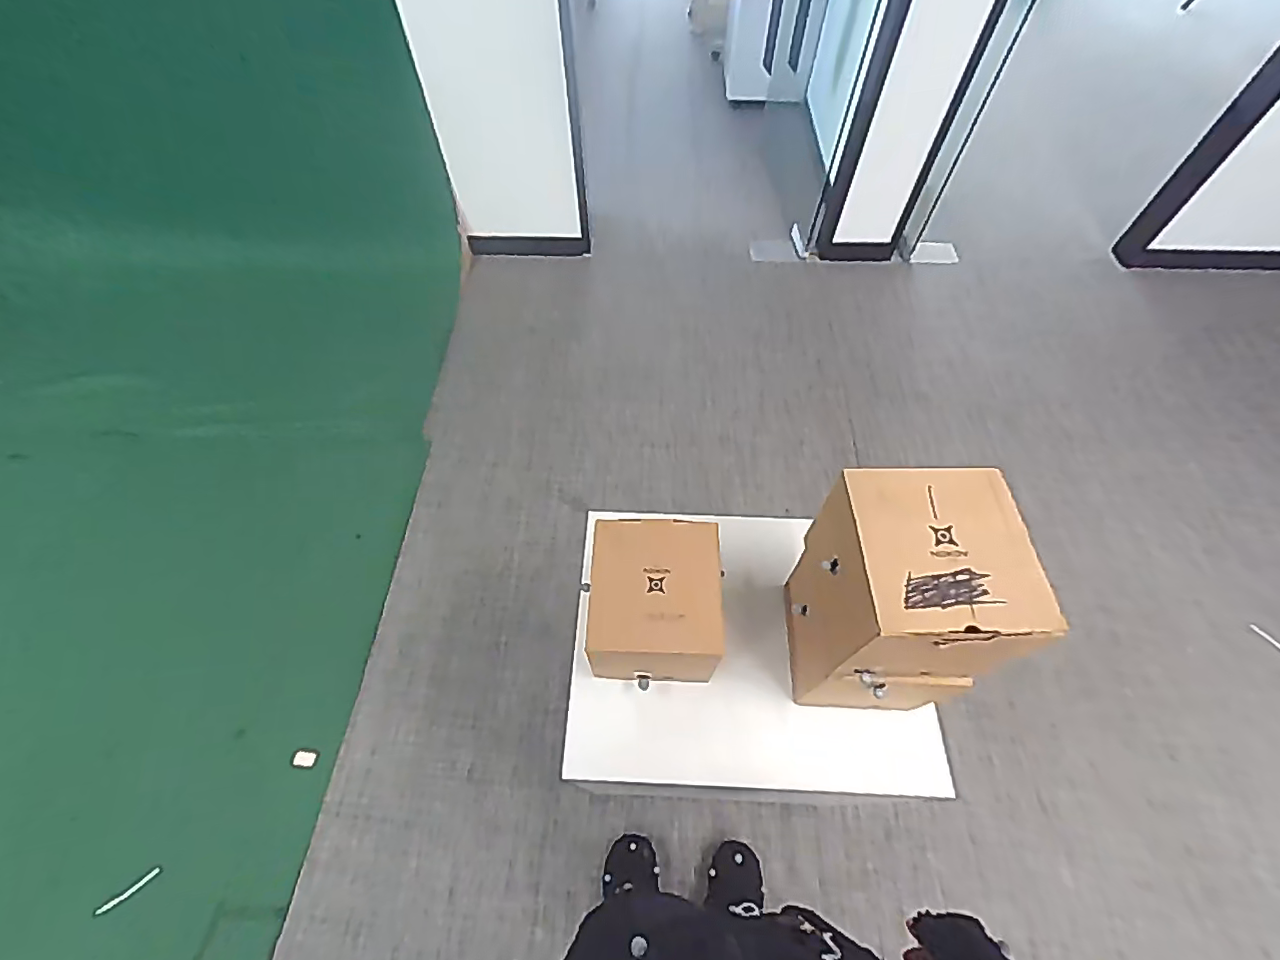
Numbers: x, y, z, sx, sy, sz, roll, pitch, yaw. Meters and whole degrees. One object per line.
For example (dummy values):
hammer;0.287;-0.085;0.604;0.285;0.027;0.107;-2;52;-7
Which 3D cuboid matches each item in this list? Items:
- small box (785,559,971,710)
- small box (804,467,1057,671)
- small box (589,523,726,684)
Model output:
small box;0.298;0.196;0.723;0.168;0.176;0.179;1;58;3
small box;0.289;0.104;0.587;0.168;0.176;0.179;-1;58;1
small box;0.022;0.173;0.745;0.168;0.176;0.179;0;60;1
